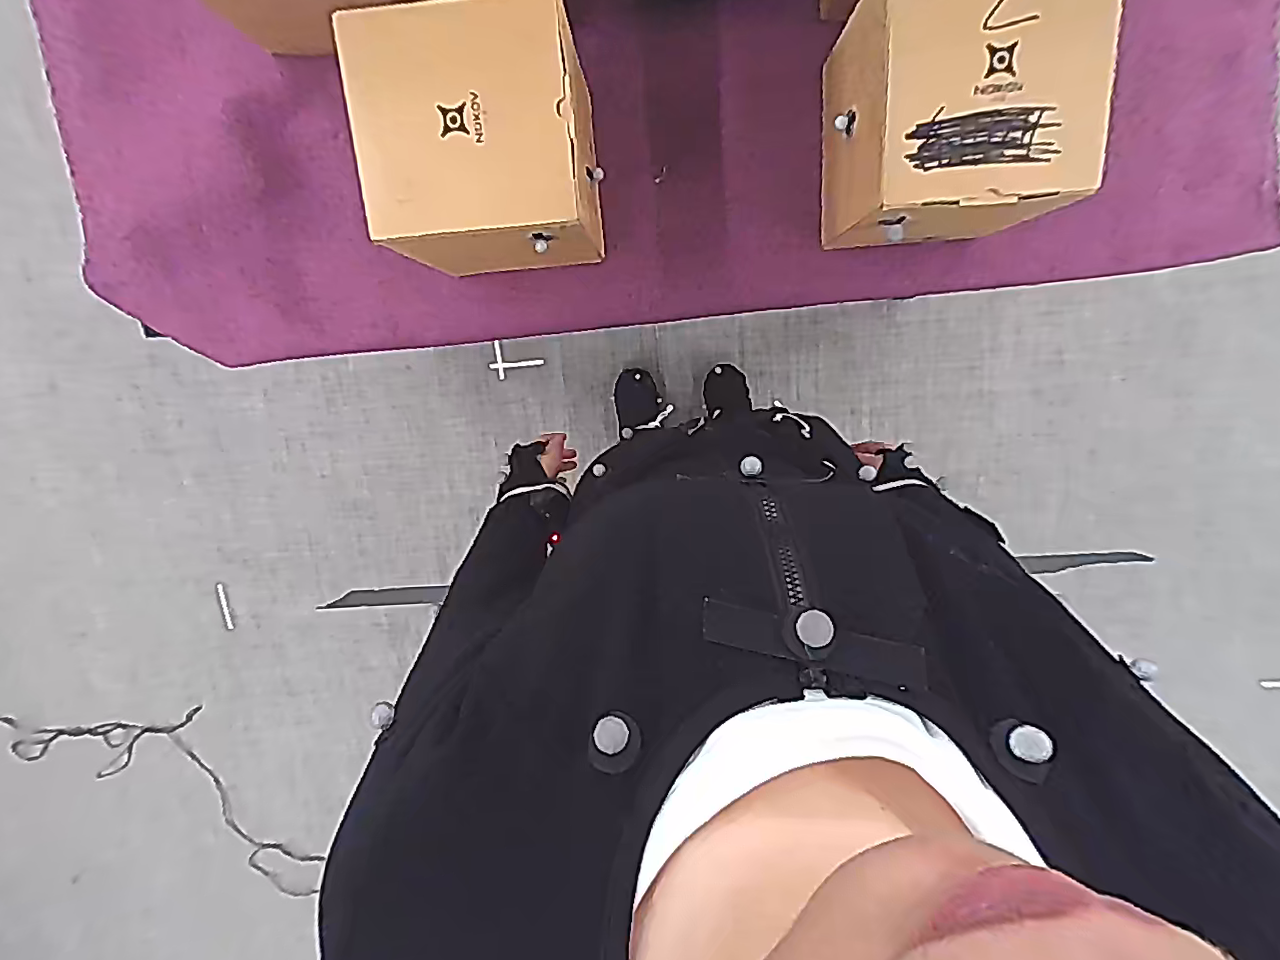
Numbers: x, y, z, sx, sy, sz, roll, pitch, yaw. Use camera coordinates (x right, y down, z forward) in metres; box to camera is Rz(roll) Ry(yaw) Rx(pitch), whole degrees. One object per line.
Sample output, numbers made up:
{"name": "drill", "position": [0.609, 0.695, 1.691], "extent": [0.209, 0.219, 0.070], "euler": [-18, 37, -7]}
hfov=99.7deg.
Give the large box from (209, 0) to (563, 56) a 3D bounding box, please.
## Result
{"name": "large box", "position": [-0.244, -0.603, 0.368], "extent": [0.320, 0.320, 0.408], "euler": [-3, 106, 3]}
